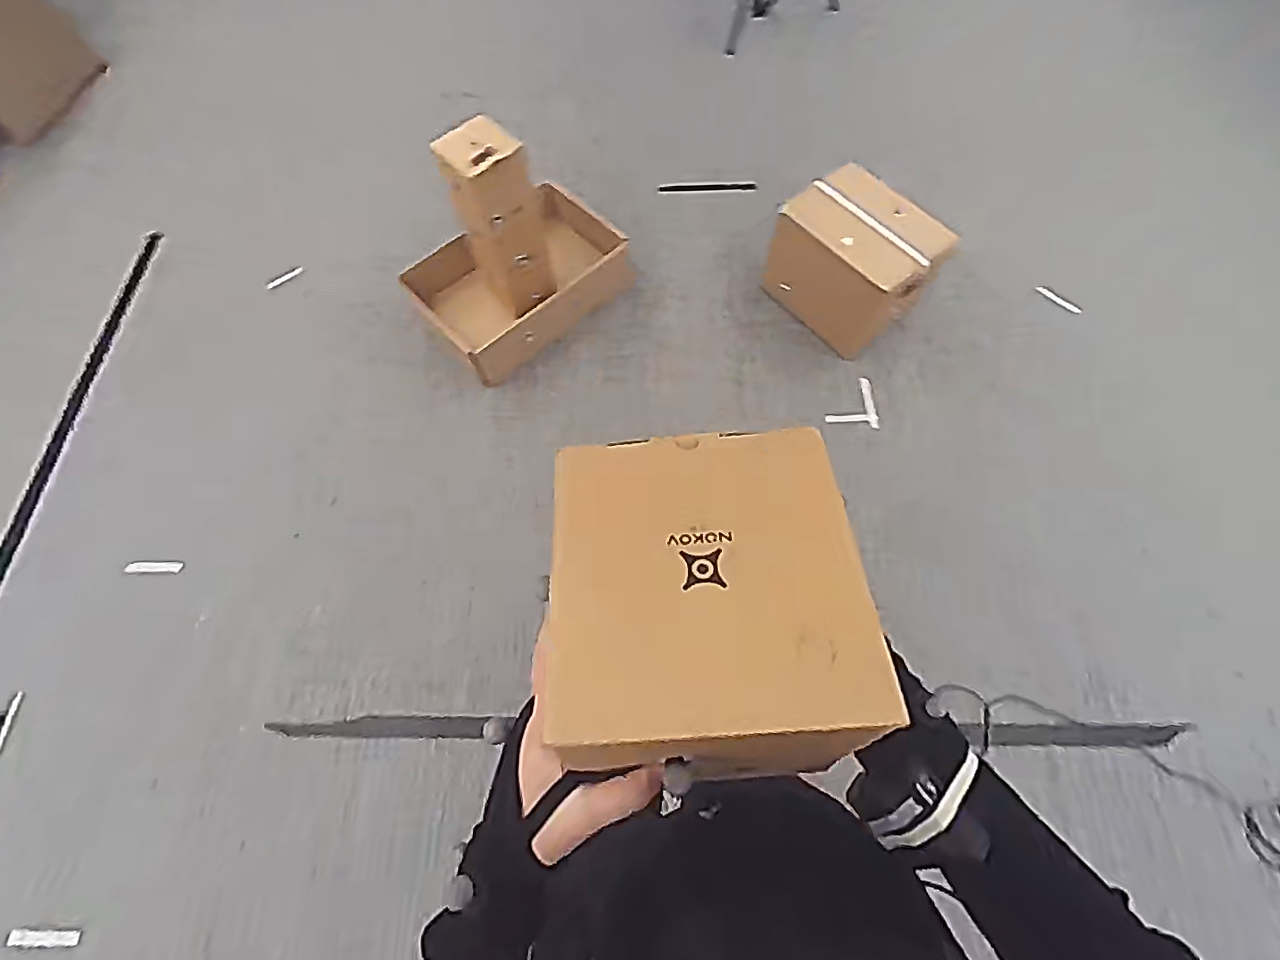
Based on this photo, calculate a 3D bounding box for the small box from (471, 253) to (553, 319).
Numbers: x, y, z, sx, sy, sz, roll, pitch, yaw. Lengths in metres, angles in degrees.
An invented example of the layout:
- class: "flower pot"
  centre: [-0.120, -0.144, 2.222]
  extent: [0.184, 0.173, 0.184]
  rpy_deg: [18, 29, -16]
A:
- class: "small box"
  centre: [-0.396, -0.645, 1.696]
  extent: [0.168, 0.176, 0.179]
  rpy_deg: [-39, 72, -14]

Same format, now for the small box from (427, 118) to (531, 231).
- class: "small box"
  centre: [-0.406, -0.778, 1.398]
  extent: [0.168, 0.176, 0.179]
  rpy_deg: [-41, 71, -15]

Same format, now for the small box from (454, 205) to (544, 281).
- class: "small box"
  centre: [-0.399, -0.711, 1.548]
  extent: [0.168, 0.176, 0.179]
  rpy_deg: [-41, 73, -14]

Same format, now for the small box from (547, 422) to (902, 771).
- class: "small box"
  centre: [0.041, 0.086, 0.357]
  extent: [0.168, 0.176, 0.179]
  rpy_deg: [-4, 53, 1]
